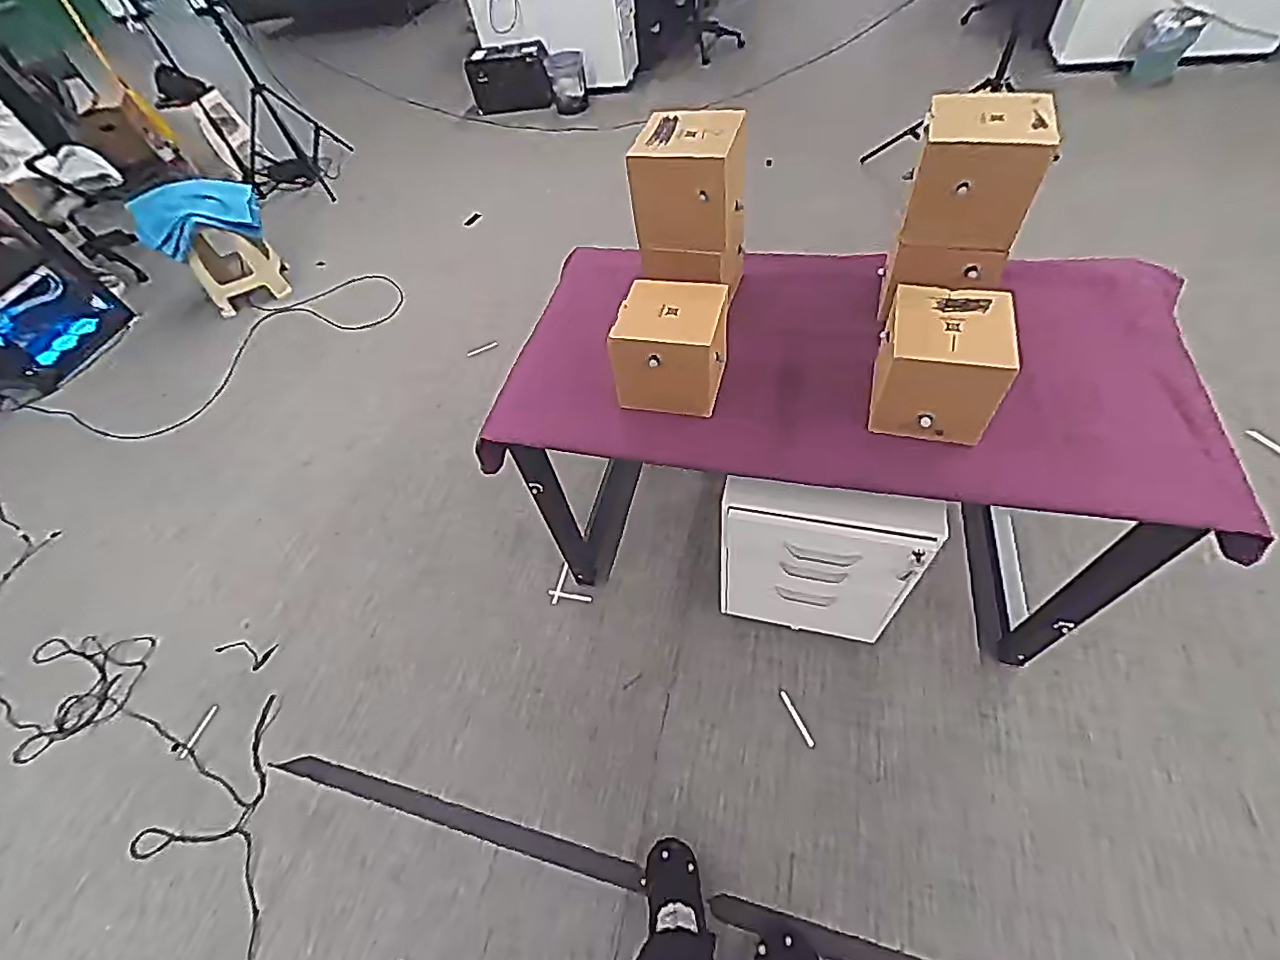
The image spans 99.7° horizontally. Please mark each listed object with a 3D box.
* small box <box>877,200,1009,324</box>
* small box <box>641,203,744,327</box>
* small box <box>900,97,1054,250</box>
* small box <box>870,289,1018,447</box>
[{"bbox_3d":[0.566,-0.405,1.025,0.179,0.176,0.168,10,57,16],"label":"small box"},{"bbox_3d":[0.115,-0.449,1.129,0.168,0.176,0.179,12,59,18],"label":"small box"},{"bbox_3d":[0.543,-0.501,0.894,0.179,0.176,0.168,11,58,18],"label":"small box"},{"bbox_3d":[0.478,-0.181,0.875,0.168,0.176,0.179,10,56,16],"label":"small box"}]
